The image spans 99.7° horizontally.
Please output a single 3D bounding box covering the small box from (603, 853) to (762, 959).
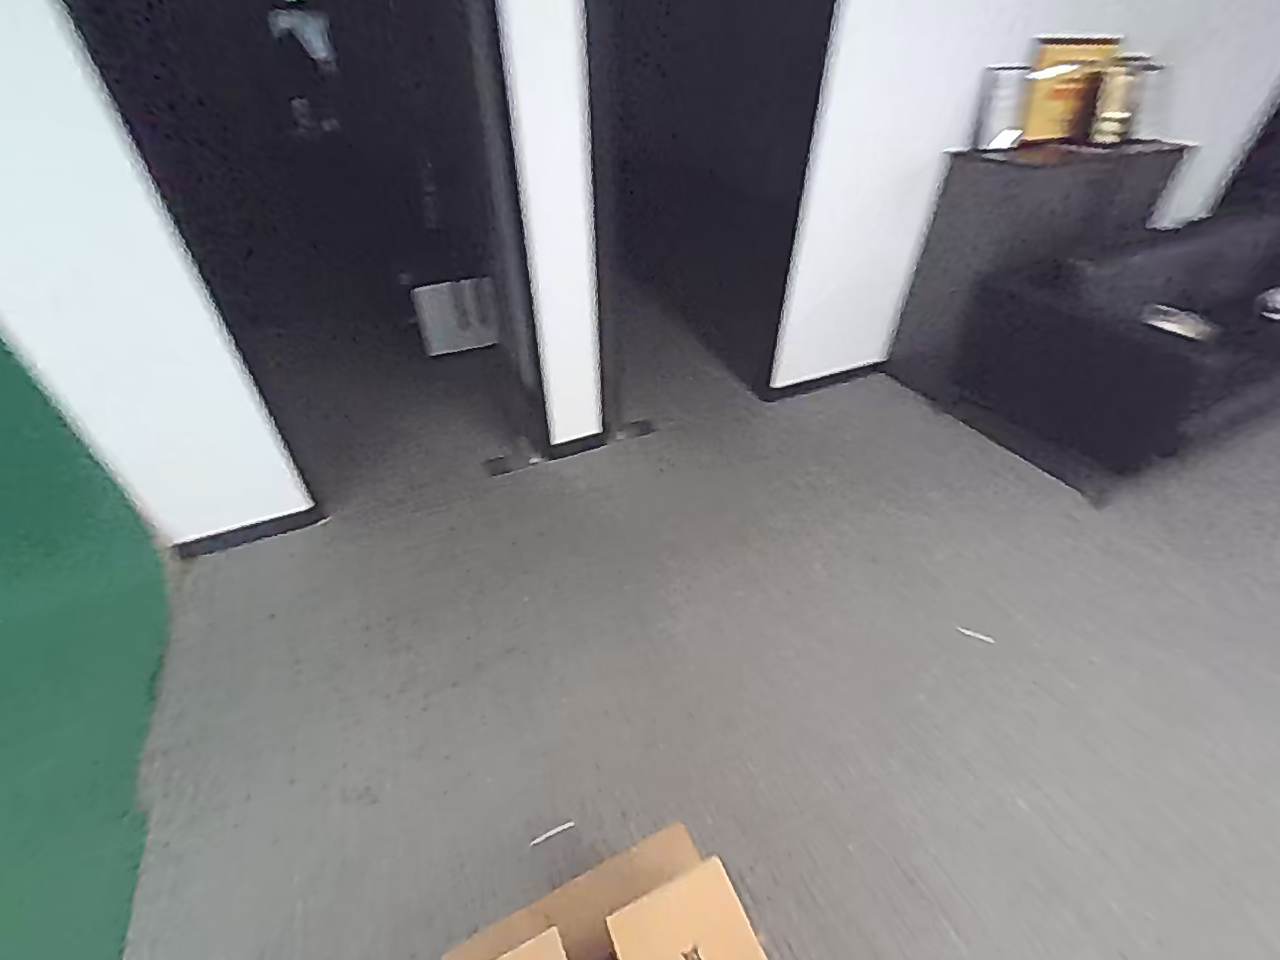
[{"bbox_3d":[0.057,0.640,0.703,0.168,0.176,0.179,-16,43,-18],"label":"small box"}]
